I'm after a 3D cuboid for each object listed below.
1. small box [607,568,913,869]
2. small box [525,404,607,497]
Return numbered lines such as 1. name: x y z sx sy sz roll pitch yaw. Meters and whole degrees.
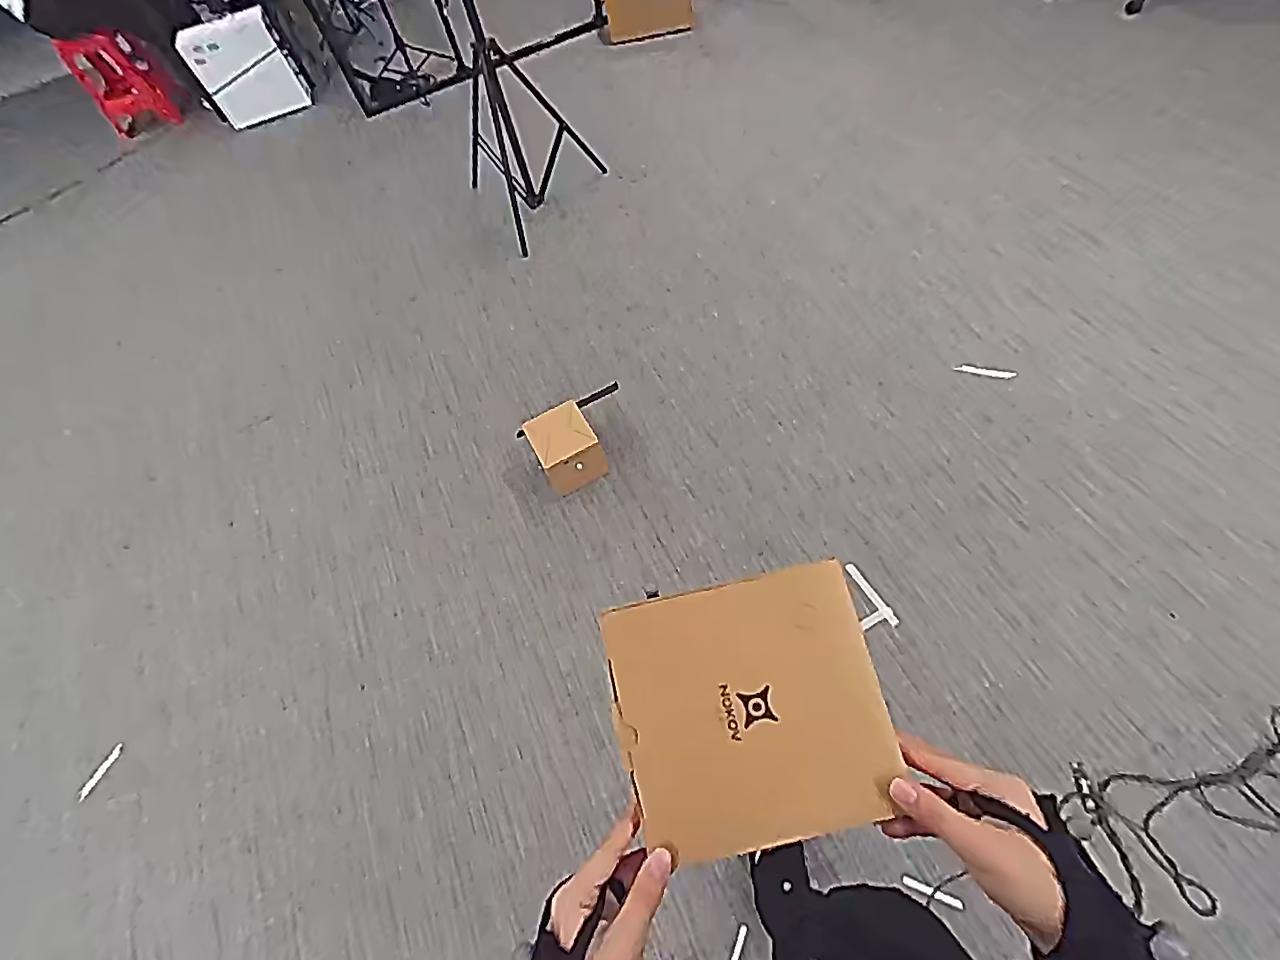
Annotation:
1. small box: 0.080 0.172 0.442 0.179 0.176 0.168 -13 76 1
2. small box: -0.215 -0.088 1.560 0.168 0.176 0.179 -28 60 -7
